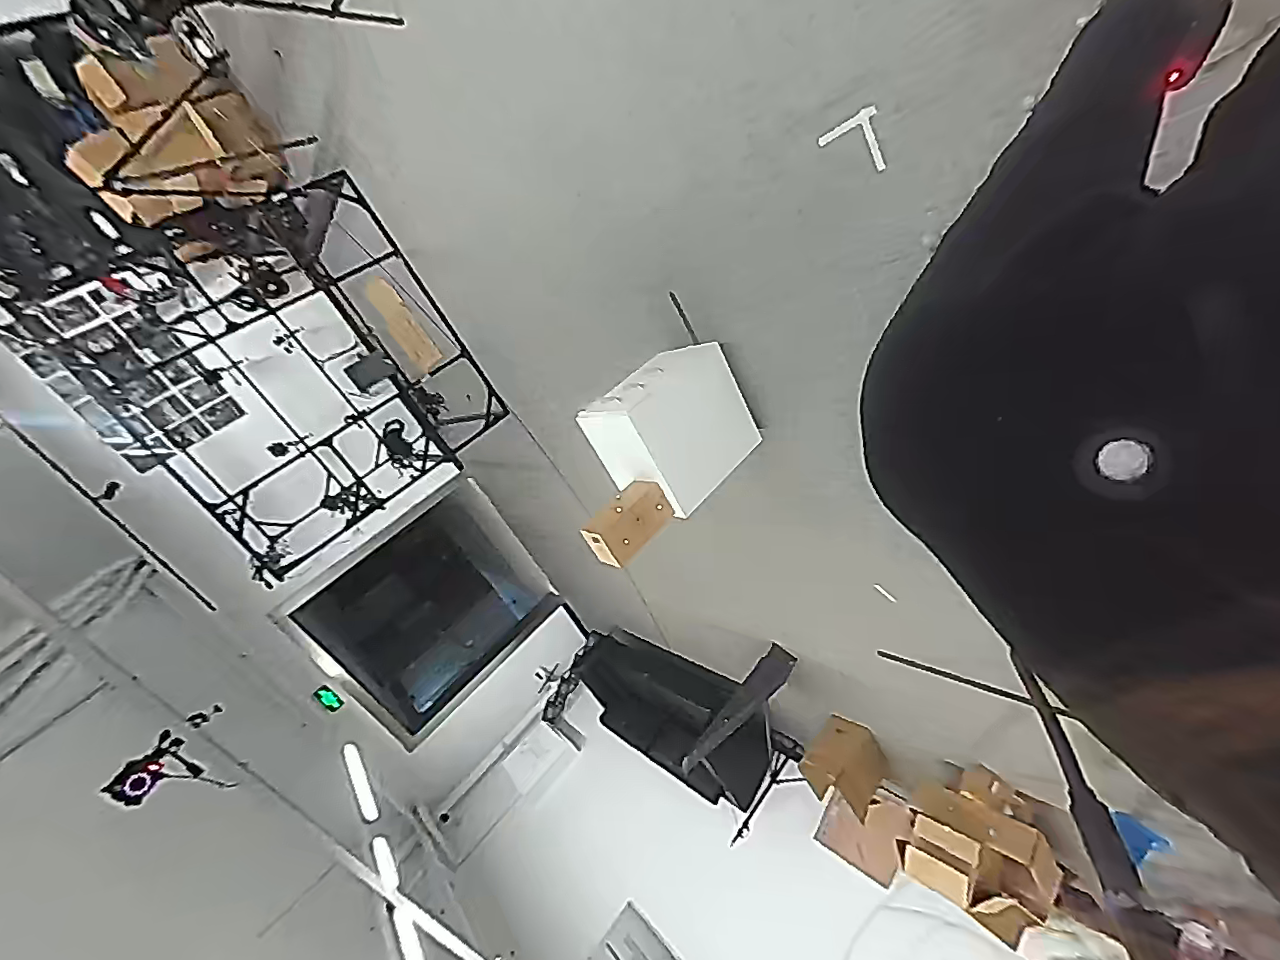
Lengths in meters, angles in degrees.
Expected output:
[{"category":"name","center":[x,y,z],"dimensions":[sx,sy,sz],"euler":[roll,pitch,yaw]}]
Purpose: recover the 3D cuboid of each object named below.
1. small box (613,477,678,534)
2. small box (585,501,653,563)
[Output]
[{"category":"small box","center":[0.026,0.101,2.244],"dimensions":[0.179,0.176,0.168],"euler":[6,133,56]},{"category":"small box","center":[-0.081,0.203,2.171],"dimensions":[0.168,0.176,0.179],"euler":[7,134,56]}]
